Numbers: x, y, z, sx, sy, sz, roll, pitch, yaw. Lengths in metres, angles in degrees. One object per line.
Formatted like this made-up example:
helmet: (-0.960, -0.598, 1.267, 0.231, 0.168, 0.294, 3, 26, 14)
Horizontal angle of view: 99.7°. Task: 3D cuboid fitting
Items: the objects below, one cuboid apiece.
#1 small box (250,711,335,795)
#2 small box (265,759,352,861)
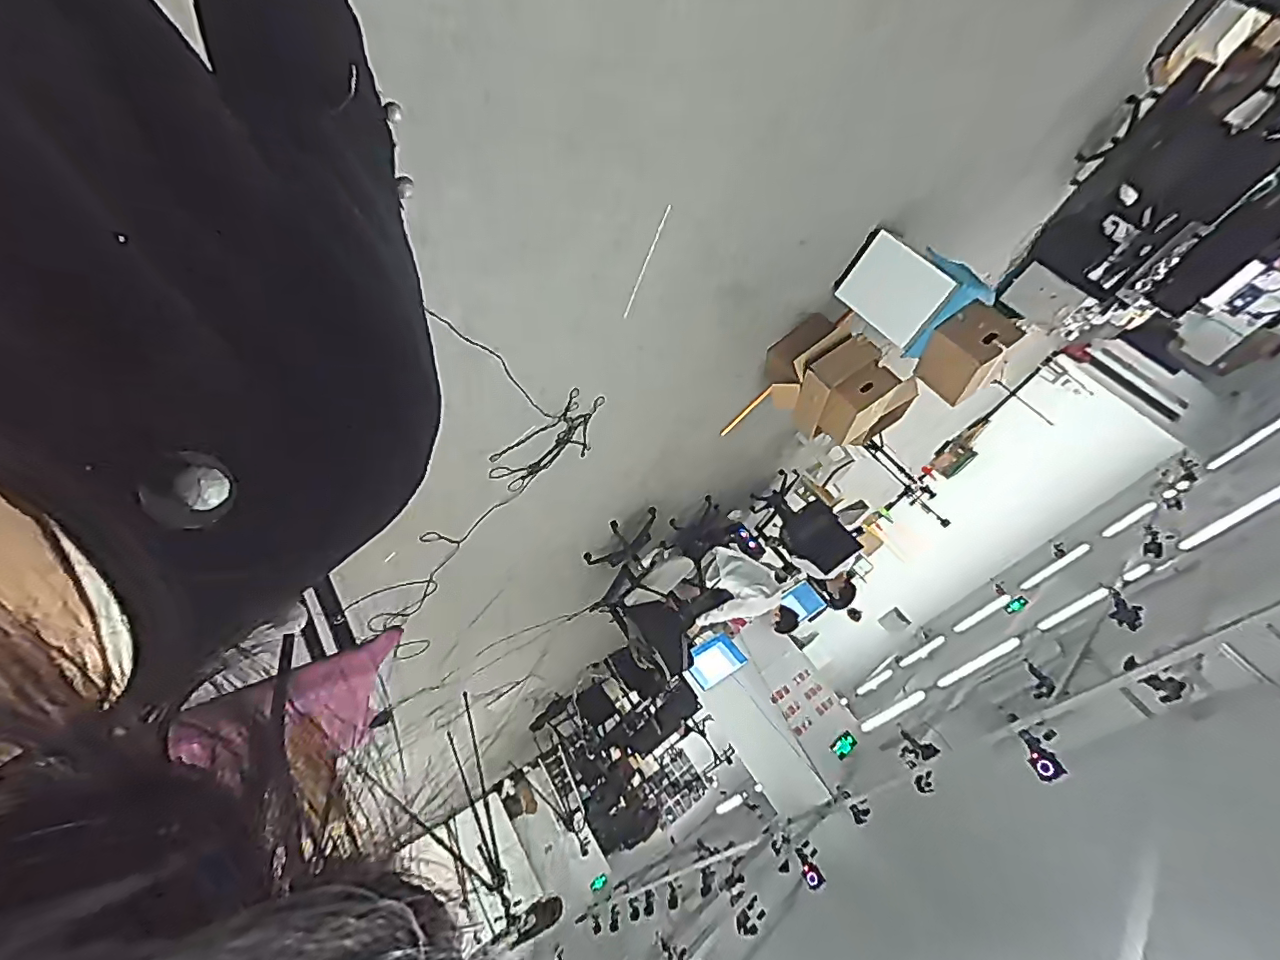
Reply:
small box: (-1.045, 0.833, 1.631, 0.179, 0.176, 0.168, -18, 148, -37)
small box: (-0.956, 0.948, 1.560, 0.179, 0.176, 0.168, -20, 149, -36)
